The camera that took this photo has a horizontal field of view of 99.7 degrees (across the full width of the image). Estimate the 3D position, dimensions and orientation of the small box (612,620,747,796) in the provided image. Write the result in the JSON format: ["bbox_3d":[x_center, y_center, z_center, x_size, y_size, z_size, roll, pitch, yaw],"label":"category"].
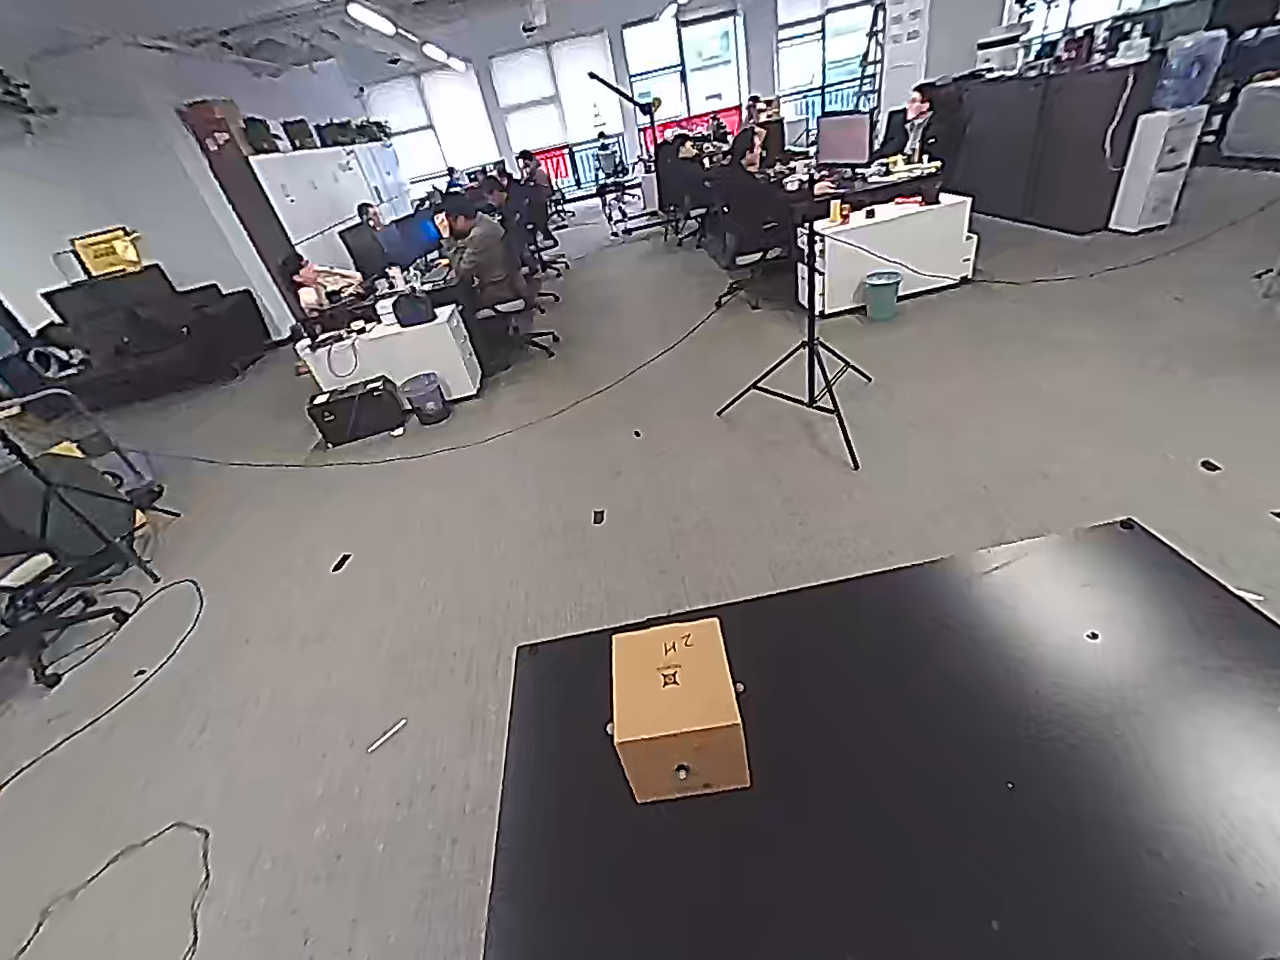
[{"bbox_3d":[0.056,0.341,0.801,0.168,0.176,0.179,-11,33,3],"label":"small box"}]
